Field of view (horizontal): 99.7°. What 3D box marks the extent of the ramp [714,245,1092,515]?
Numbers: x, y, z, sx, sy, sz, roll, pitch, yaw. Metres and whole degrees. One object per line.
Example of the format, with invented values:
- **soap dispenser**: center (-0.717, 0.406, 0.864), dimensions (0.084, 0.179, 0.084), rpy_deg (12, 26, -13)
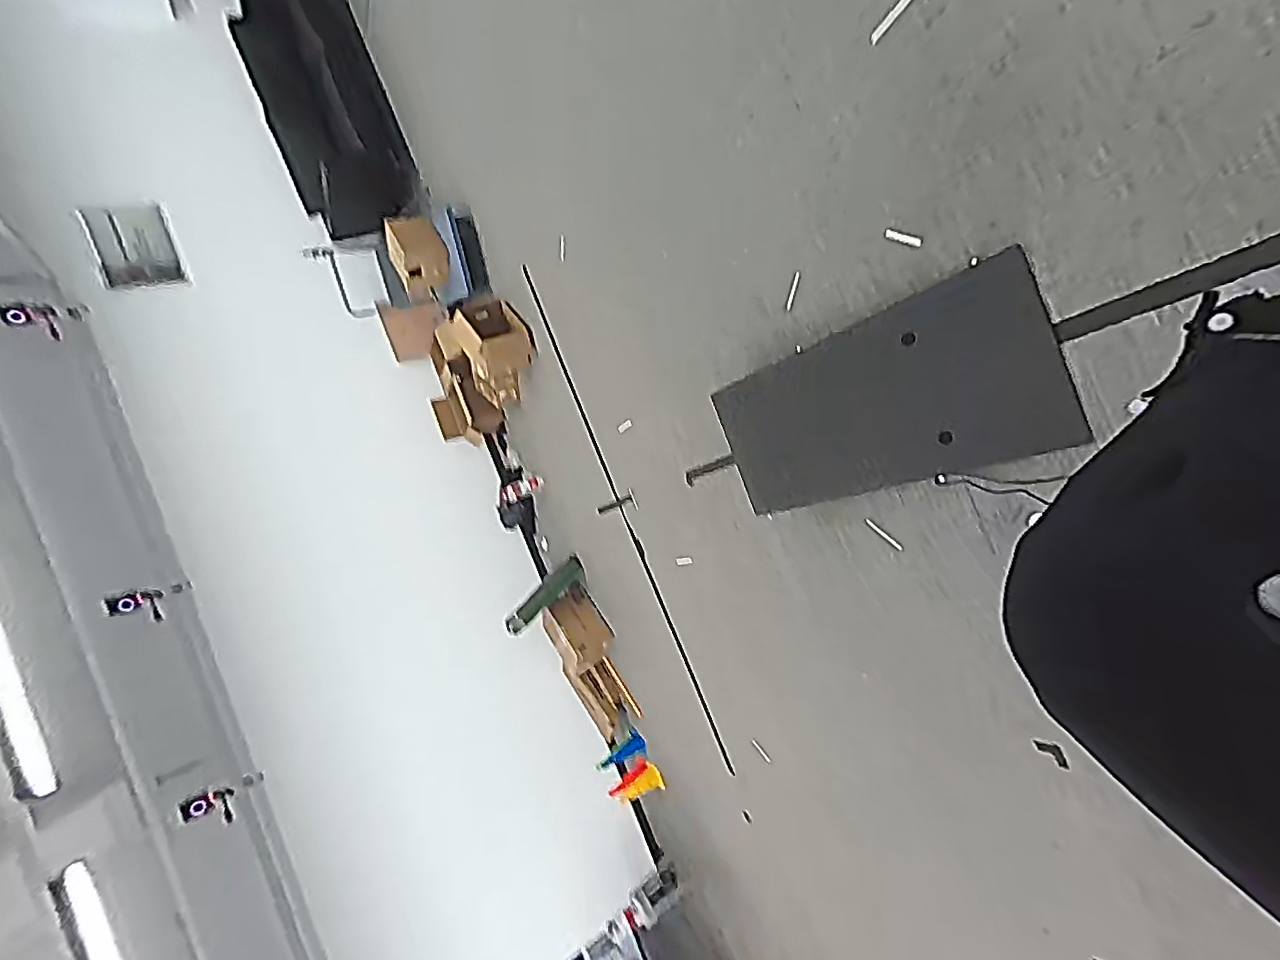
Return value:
- **ramp**: center (0.657, -0.211, 1.617), dimensions (0.991, 0.206, 0.509), rpy_deg (-24, 87, 60)
